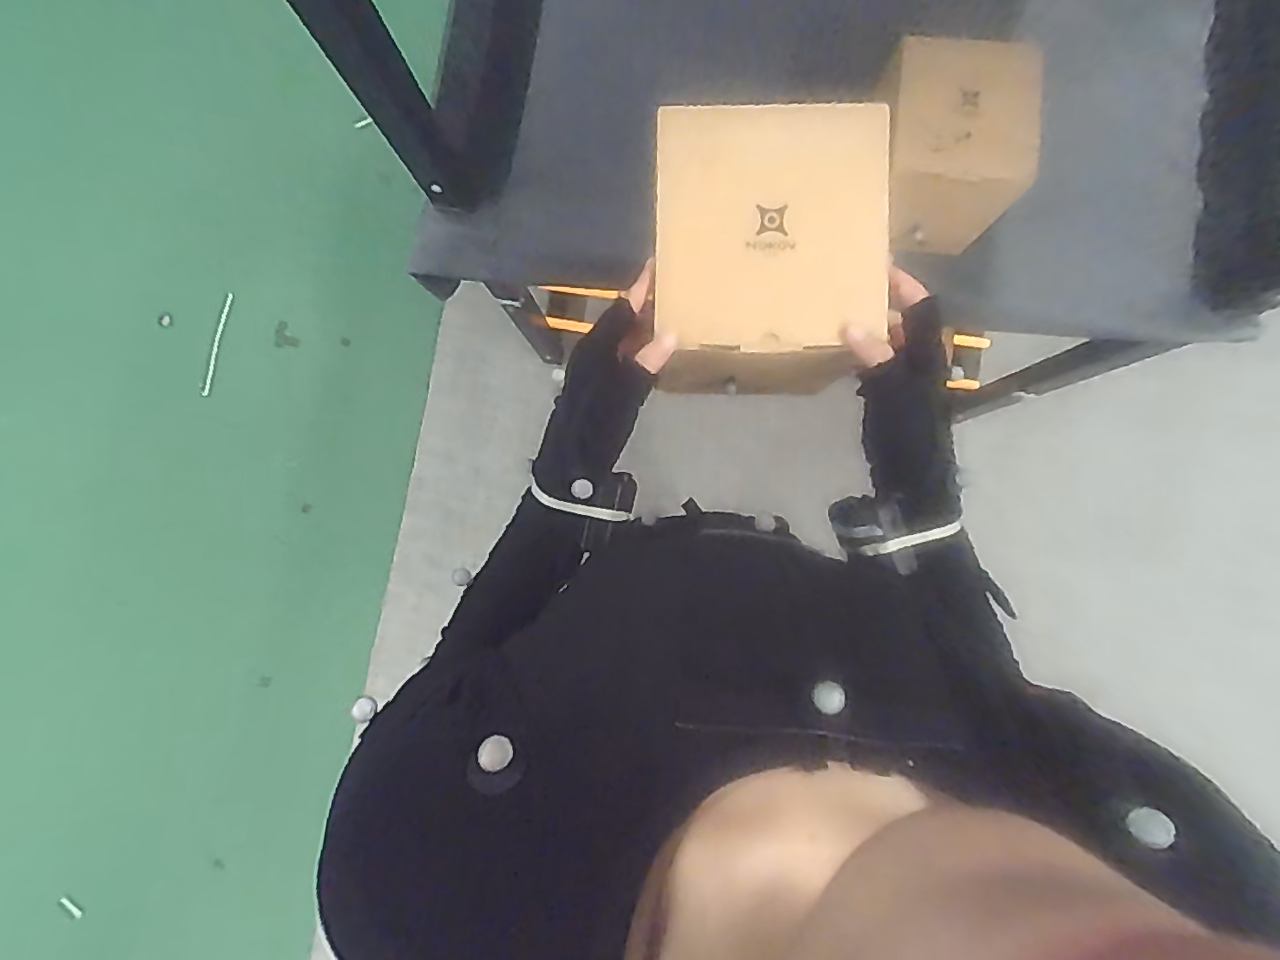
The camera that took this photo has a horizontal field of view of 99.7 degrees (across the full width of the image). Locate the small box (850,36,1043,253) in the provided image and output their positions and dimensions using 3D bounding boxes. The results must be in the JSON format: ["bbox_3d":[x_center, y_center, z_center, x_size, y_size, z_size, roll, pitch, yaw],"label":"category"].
[{"bbox_3d":[0.393,-0.434,0.720,0.168,0.176,0.179,6,84,4],"label":"small box"}]
